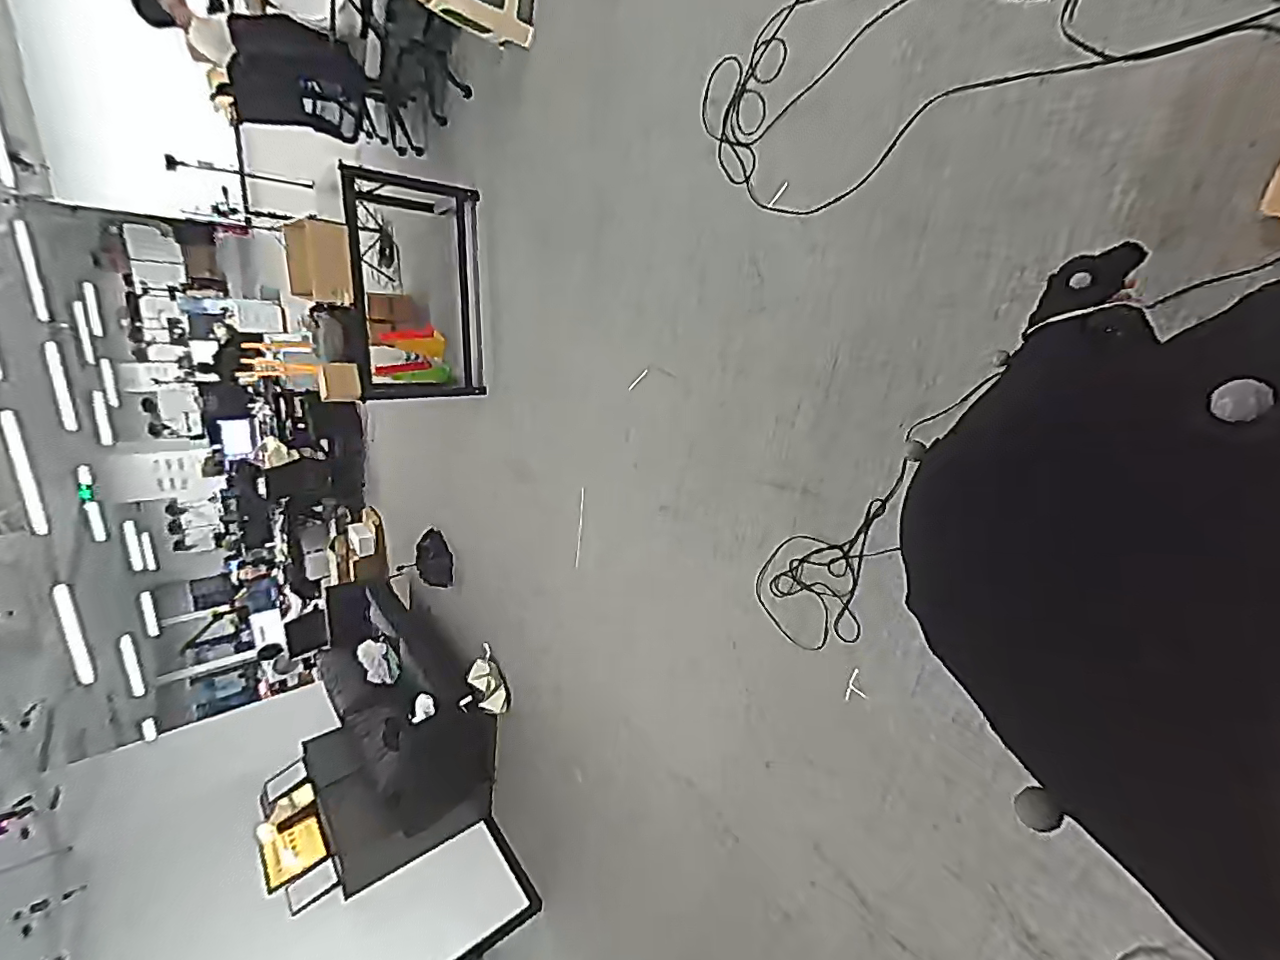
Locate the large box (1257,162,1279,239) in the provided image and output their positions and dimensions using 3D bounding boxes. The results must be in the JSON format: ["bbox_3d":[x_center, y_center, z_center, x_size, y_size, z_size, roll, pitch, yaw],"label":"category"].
[{"bbox_3d":[1.143,-0.492,0.687,0.408,0.320,0.320,26,118,42],"label":"large box"}]
